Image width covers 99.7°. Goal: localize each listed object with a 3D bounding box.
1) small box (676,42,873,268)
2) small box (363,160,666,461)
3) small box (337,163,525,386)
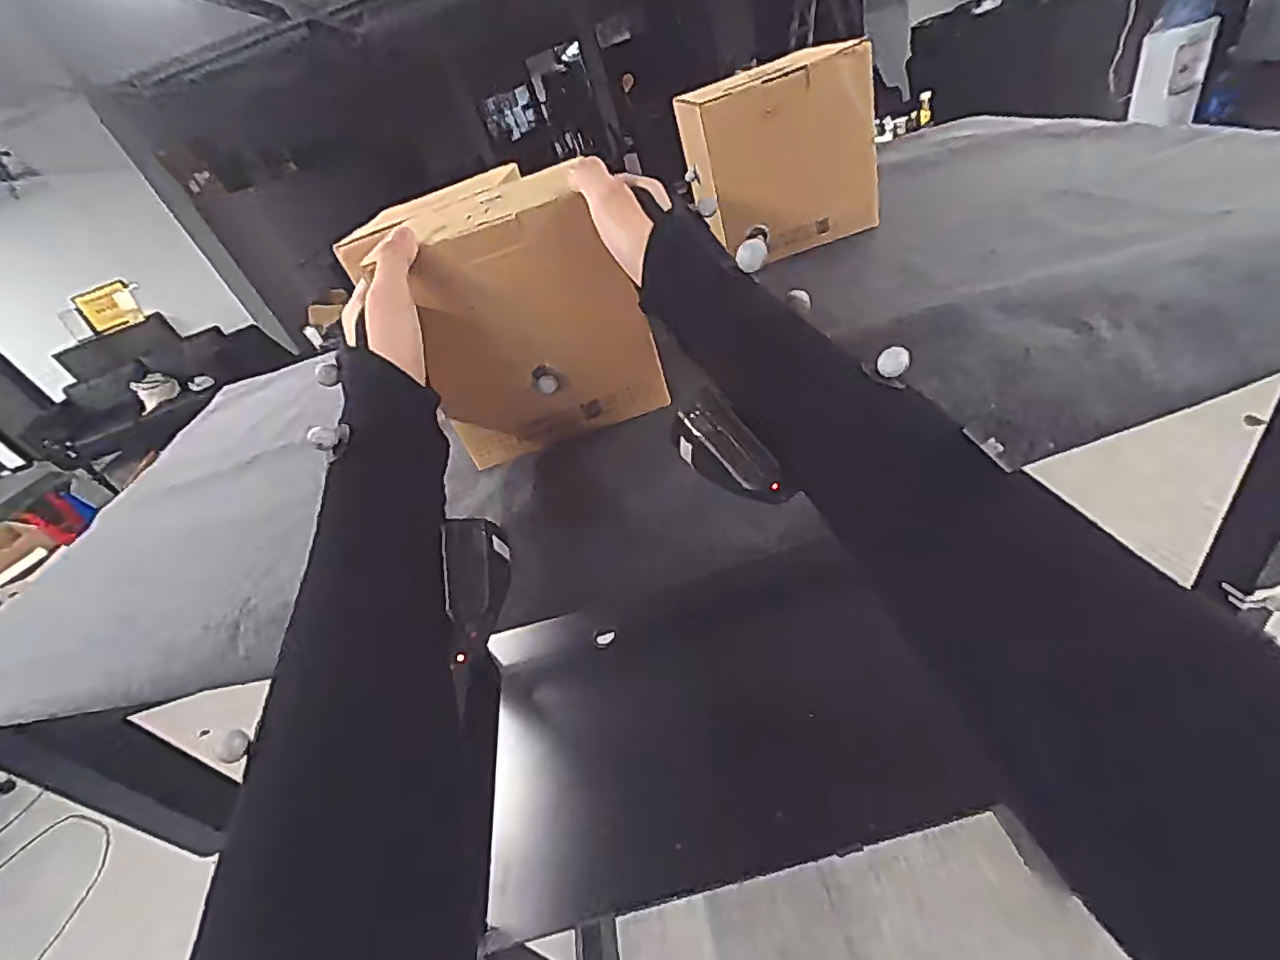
[{"bbox_3d":[0.150,-0.360,0.614,0.168,0.176,0.179,-17,36,6],"label":"small box"},{"bbox_3d":[-0.087,-0.143,0.449,0.168,0.176,0.179,-19,35,2],"label":"small box"},{"bbox_3d":[-0.193,-0.234,0.622,0.179,0.176,0.168,-16,37,8],"label":"small box"}]
